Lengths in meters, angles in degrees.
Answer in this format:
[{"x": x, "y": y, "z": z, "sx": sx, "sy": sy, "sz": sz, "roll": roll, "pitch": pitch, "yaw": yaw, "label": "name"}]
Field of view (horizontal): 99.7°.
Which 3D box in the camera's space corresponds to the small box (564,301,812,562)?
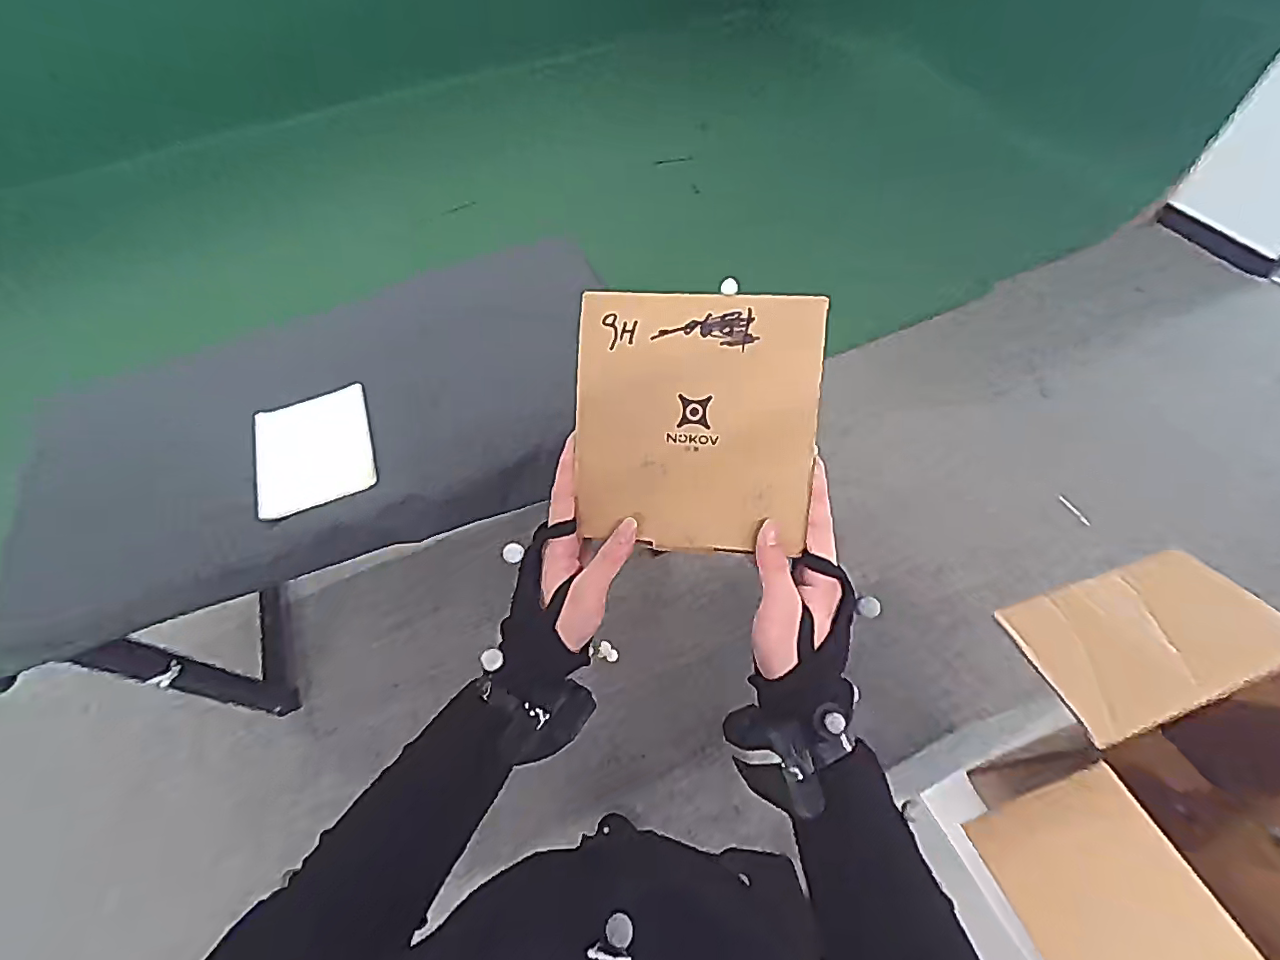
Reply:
[{"x": 0.041, "y": -0.045, "z": 0.456, "sx": 0.168, "sy": 0.176, "sz": 0.179, "roll": 4, "pitch": 99, "yaw": 8, "label": "small box"}]
